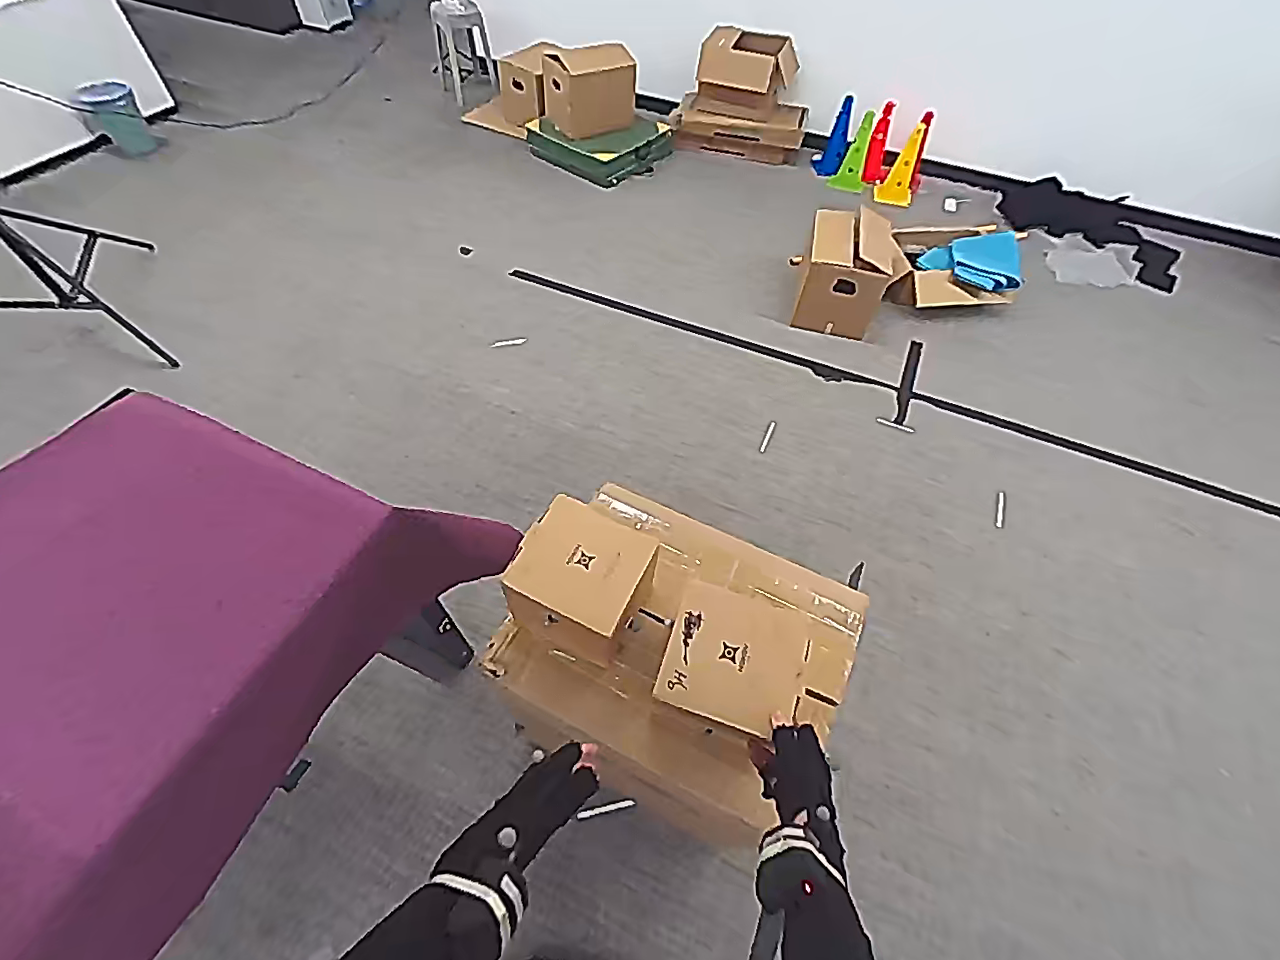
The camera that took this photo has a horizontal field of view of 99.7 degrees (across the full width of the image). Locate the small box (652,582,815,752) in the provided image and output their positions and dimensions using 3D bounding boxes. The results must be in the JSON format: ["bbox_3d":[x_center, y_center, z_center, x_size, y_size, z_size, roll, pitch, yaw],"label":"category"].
[{"bbox_3d":[0.124,0.267,0.760,0.179,0.176,0.168,17,63,10],"label":"small box"}]

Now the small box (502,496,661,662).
[{"bbox_3d":[-0.082,0.158,0.834,0.179,0.176,0.168,21,58,12],"label":"small box"}]
